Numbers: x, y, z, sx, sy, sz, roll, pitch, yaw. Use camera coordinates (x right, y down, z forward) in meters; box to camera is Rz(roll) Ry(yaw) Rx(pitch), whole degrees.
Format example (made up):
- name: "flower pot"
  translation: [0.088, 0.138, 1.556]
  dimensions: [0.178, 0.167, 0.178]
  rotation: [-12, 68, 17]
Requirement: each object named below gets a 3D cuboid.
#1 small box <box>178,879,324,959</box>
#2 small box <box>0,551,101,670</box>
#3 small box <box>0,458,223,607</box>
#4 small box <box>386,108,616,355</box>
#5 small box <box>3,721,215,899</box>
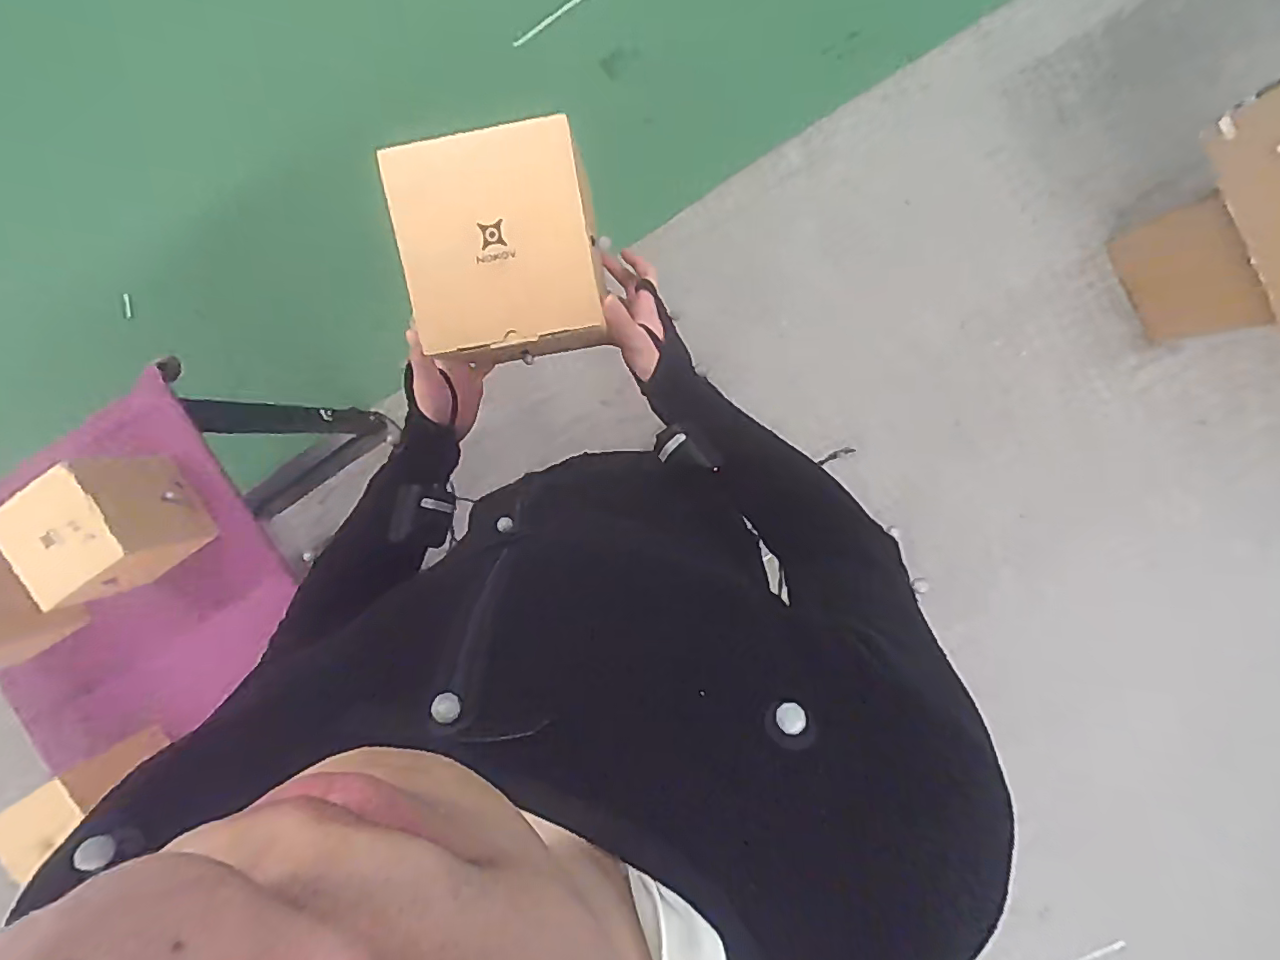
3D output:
- name: "small box"
  translation: [-0.698, 0.861, 0.951]
  dimensions: [0.179, 0.176, 0.168]
  rotation: [-32, 91, 8]
- name: "small box"
  translation: [-1.118, 0.235, 0.938]
  dimensions: [0.179, 0.176, 0.168]
  rotation: [-30, 92, 8]
- name: "small box"
  translation: [-0.856, 0.077, 0.892]
  dimensions: [0.179, 0.176, 0.168]
  rotation: [-32, 93, 8]
- name: "small box"
  translation: [-0.120, -0.227, 0.542]
  dimensions: [0.168, 0.176, 0.179]
  rotation: [-9, 102, 3]
- name: "small box"
  translation: [-0.914, 0.566, 0.948]
  dimensions: [0.179, 0.176, 0.168]
  rotation: [-32, 92, 7]
